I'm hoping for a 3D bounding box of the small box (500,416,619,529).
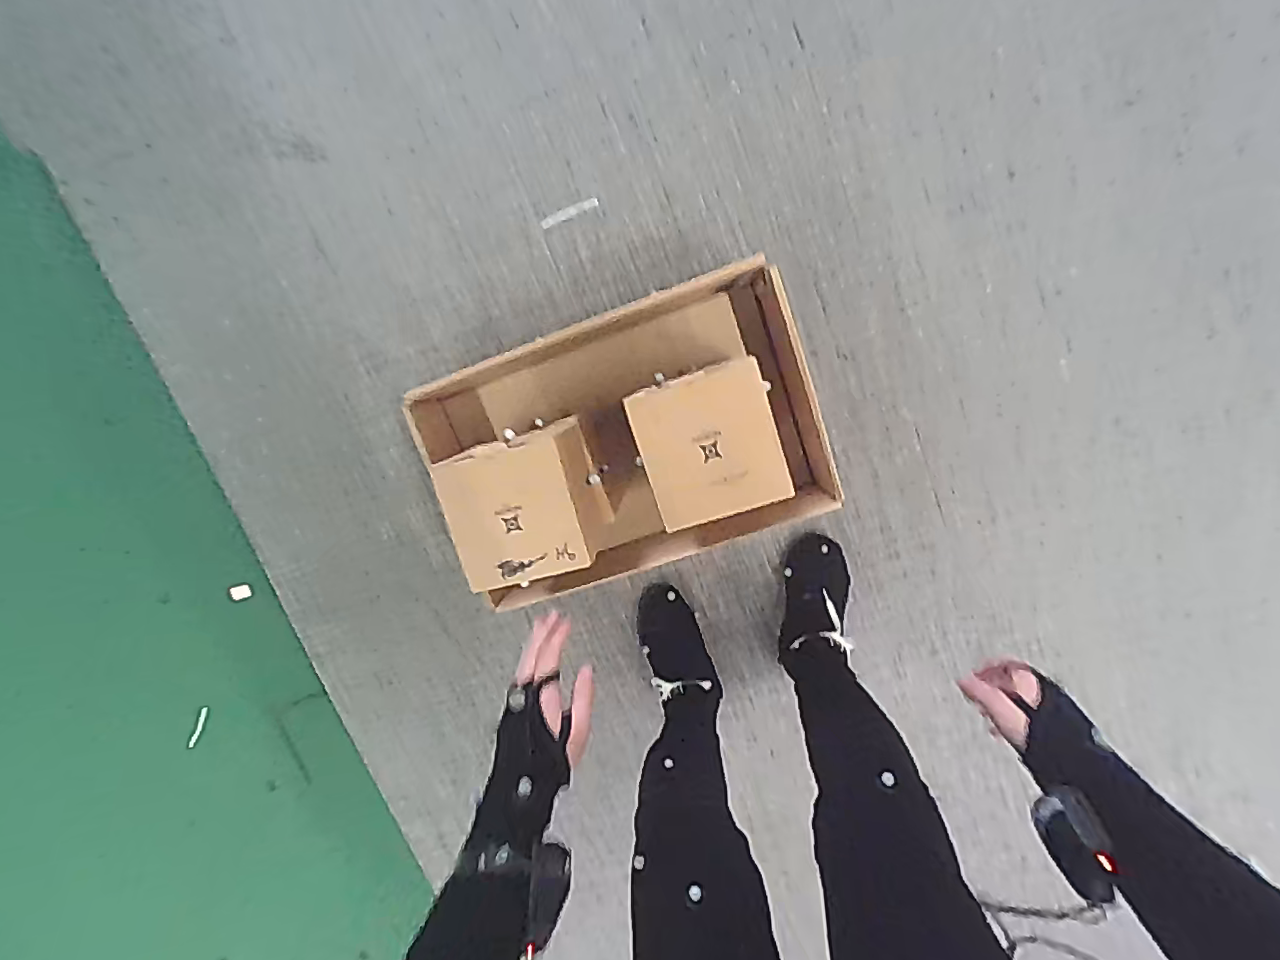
[{"bbox_3d":[-0.143,0.002,0.931,0.168,0.176,0.179,-20,100,5],"label":"small box"}]

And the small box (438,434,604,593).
[{"bbox_3d":[-0.156,0.036,0.769,0.168,0.176,0.179,-13,99,6],"label":"small box"}]

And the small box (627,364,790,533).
[{"bbox_3d":[0.089,-0.050,0.741,0.168,0.176,0.179,-17,100,8],"label":"small box"}]
